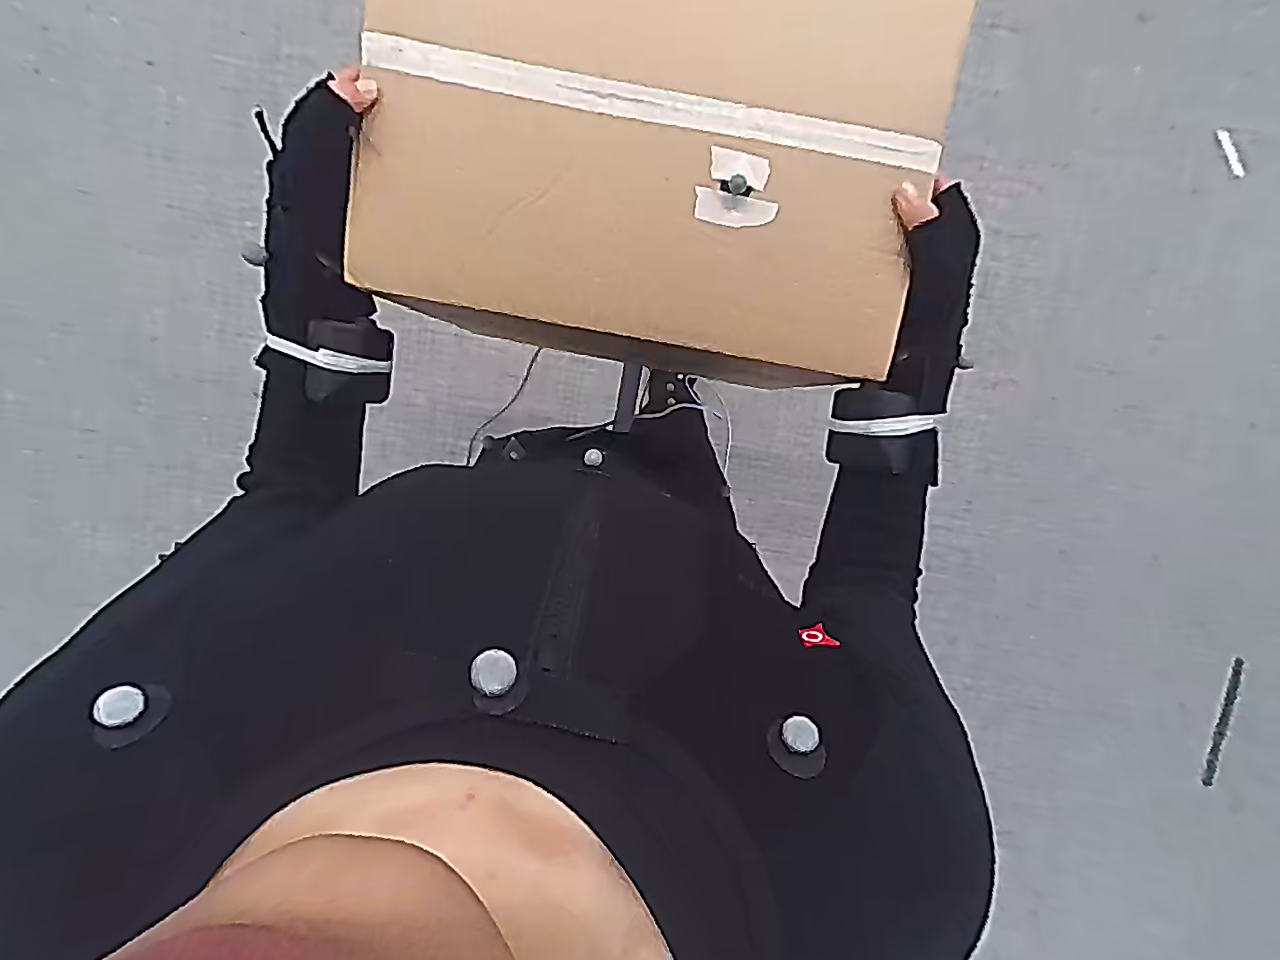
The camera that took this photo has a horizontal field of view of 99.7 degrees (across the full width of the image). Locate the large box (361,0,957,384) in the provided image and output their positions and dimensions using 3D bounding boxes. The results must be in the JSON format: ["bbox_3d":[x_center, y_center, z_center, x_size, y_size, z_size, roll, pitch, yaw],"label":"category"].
[{"bbox_3d":[0.006,-0.282,0.536,0.408,0.320,0.320,10,99,-3],"label":"large box"}]
